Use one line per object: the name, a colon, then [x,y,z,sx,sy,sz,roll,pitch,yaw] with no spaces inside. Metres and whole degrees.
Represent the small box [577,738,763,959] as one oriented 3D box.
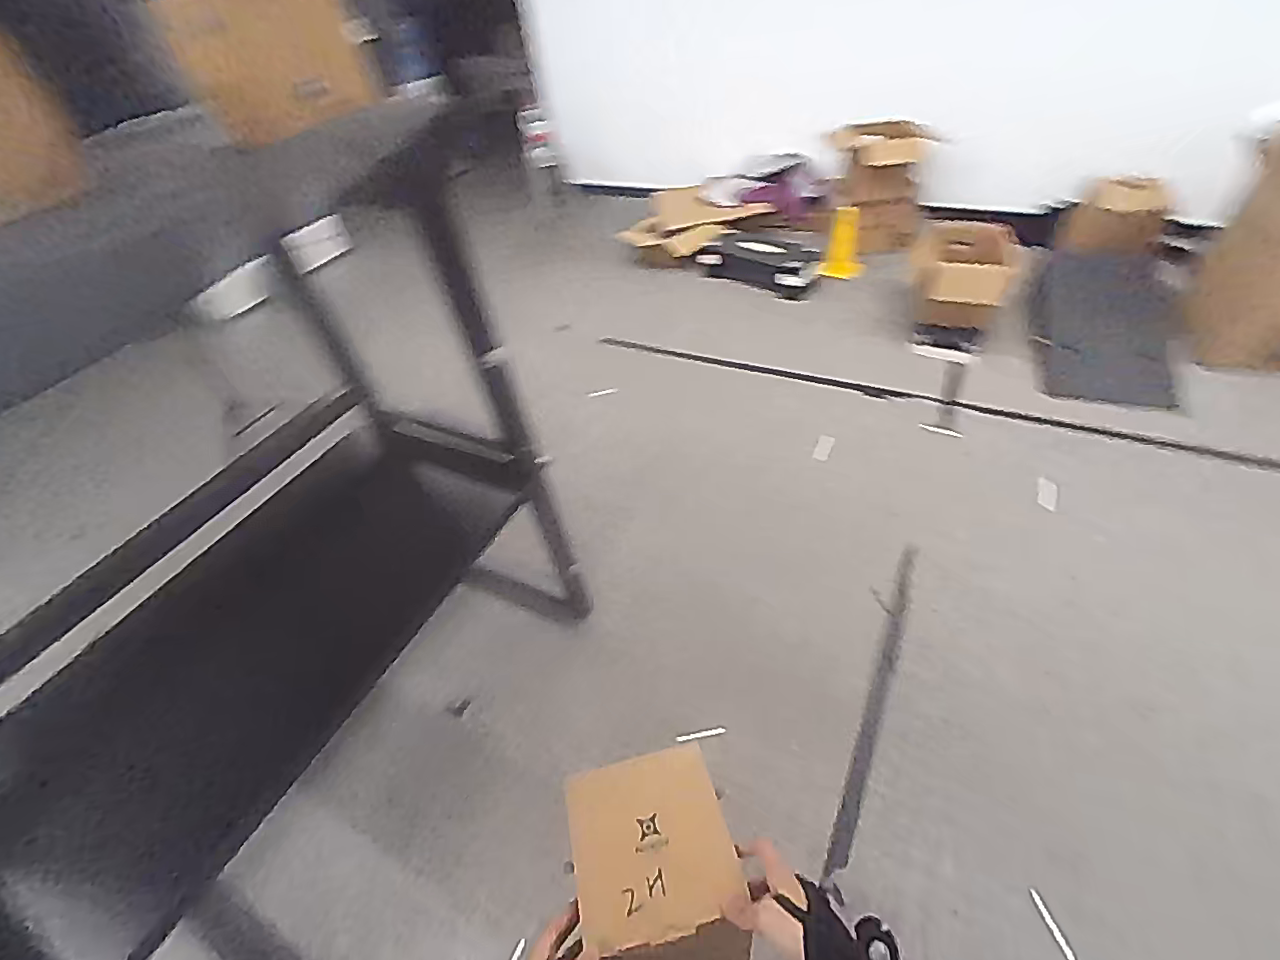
small box: [0.026,0.434,0.613,0.168,0.176,0.179,-10,35,-8]
